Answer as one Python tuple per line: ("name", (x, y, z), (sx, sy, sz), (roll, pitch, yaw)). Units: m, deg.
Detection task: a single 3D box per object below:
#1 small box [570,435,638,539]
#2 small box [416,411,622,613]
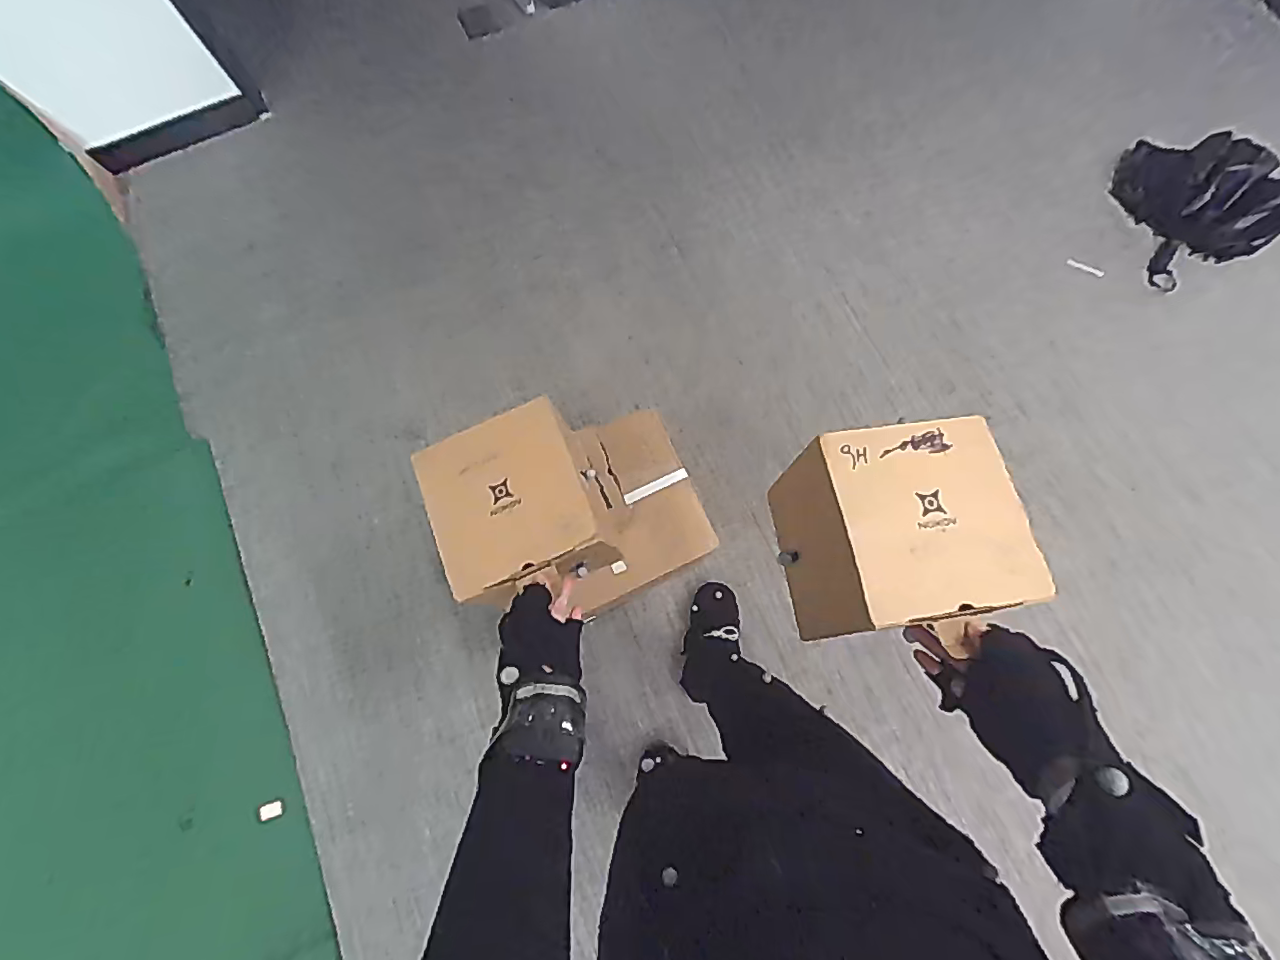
("small box", (-0.117, 0.044, 0.933), (0.179, 0.176, 0.168), (-25, 83, -5))
("small box", (-0.134, 0.049, 0.659), (0.168, 0.176, 0.179), (-25, 72, 0))
